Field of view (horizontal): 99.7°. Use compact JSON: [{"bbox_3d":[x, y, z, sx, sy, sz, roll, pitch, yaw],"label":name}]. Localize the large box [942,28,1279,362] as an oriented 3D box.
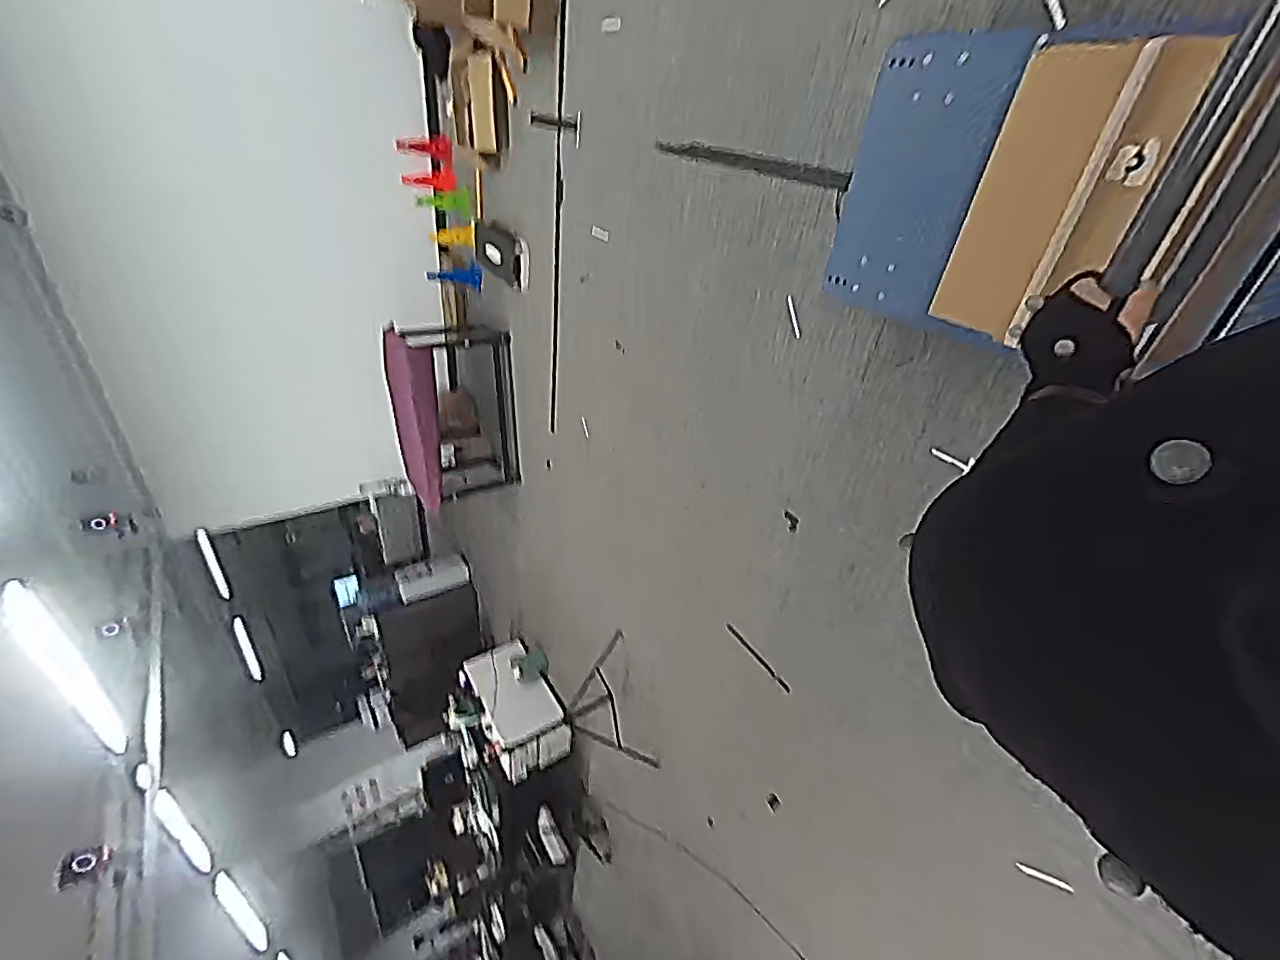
[{"bbox_3d":[0.791,-0.443,0.884,0.320,0.320,0.408,42,135,41],"label":"large box"}]
